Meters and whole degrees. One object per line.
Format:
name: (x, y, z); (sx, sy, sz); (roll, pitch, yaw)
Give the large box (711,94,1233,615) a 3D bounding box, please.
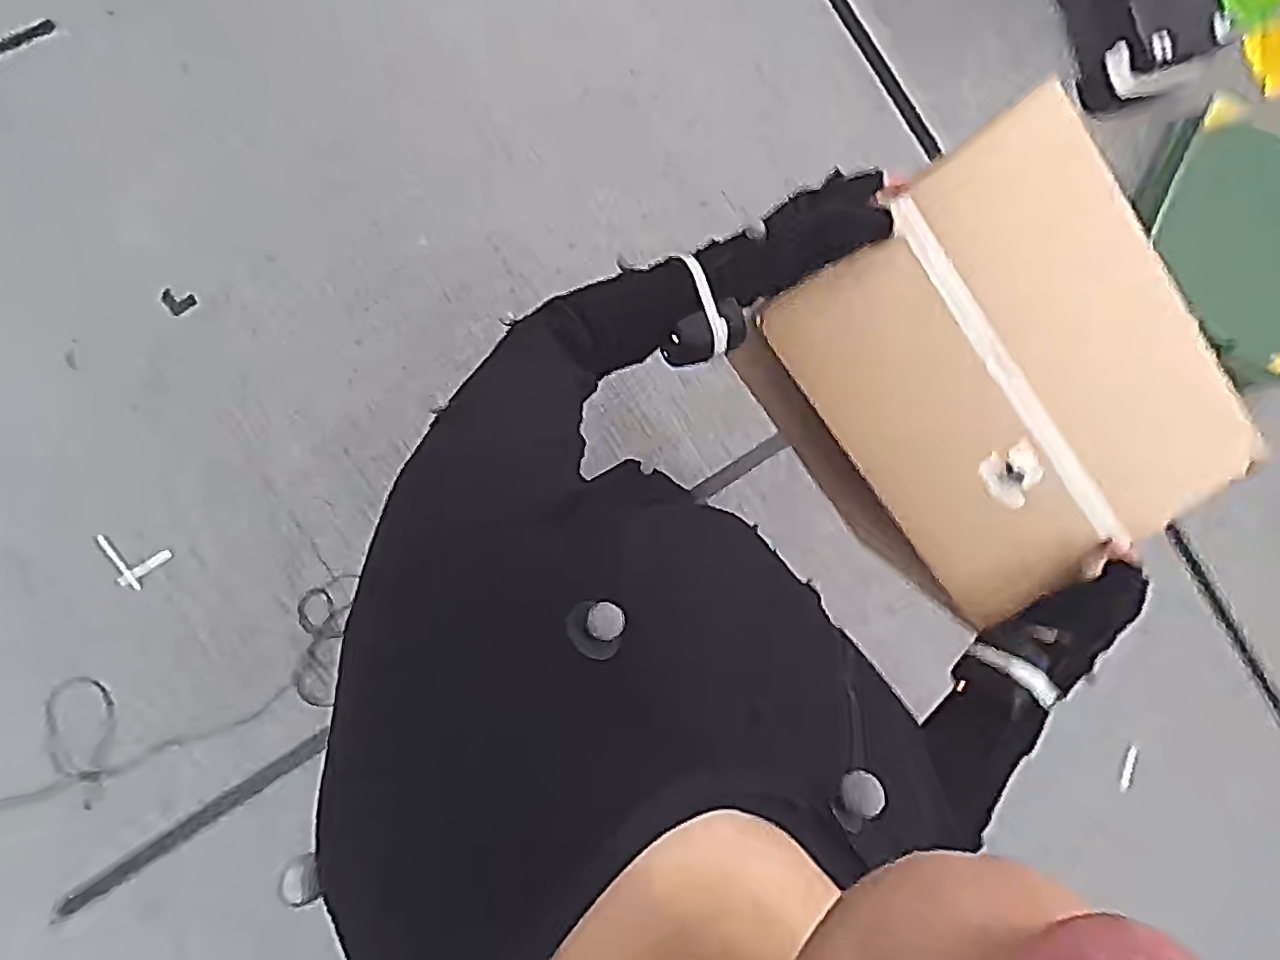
large box: (0.341, -0.129, 0.662); (0.320, 0.320, 0.408); (-37, 100, 9)
